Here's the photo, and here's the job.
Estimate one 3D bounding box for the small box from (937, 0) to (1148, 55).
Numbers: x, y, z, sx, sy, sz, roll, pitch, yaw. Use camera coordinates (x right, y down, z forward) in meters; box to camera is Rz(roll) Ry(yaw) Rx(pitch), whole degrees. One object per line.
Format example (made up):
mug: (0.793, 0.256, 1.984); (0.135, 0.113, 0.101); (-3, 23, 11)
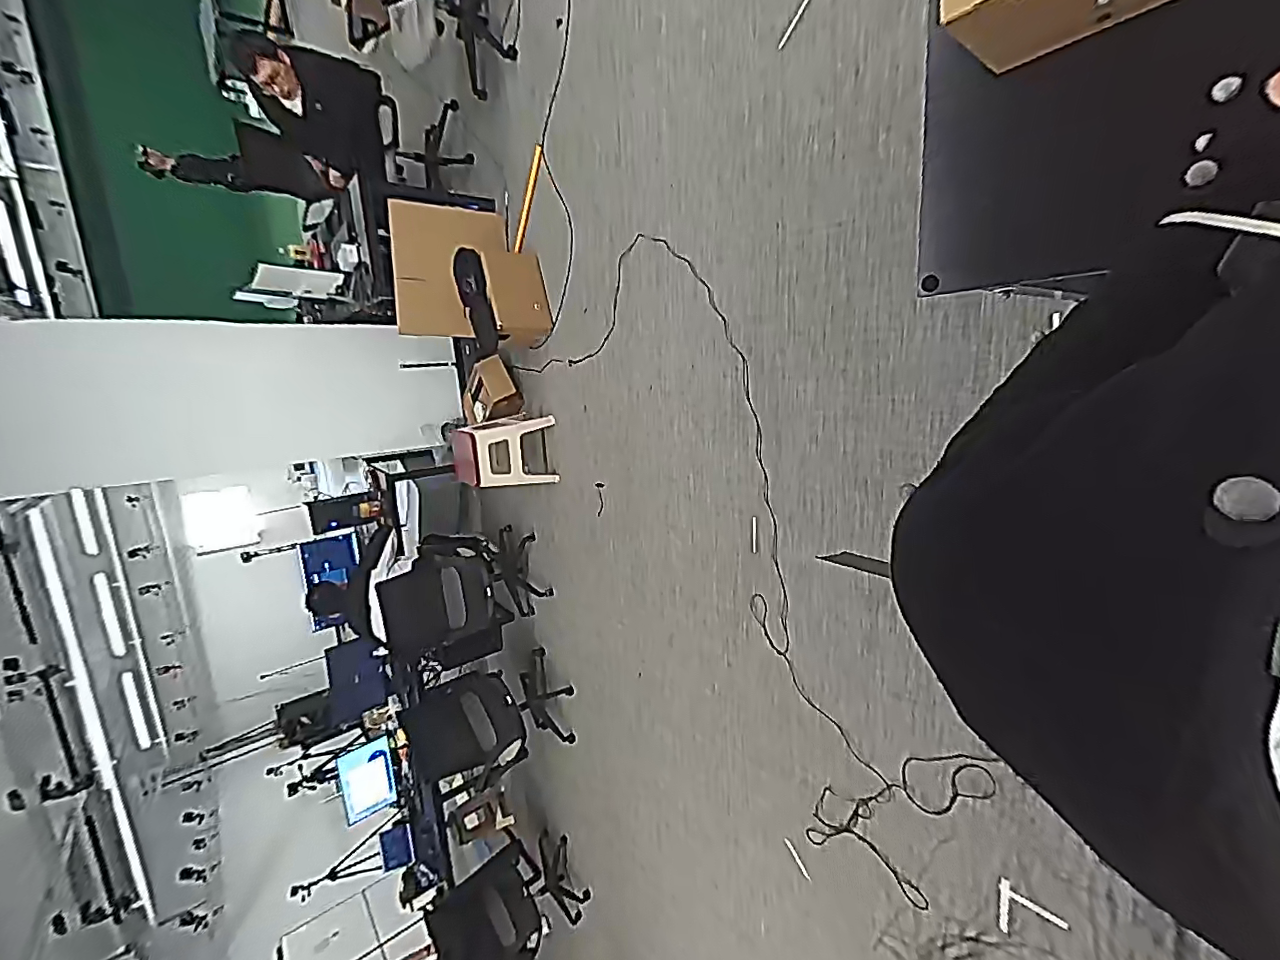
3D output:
small box: (0.408, -0.554, 0.521); (0.168, 0.176, 0.179); (7, 105, 49)
